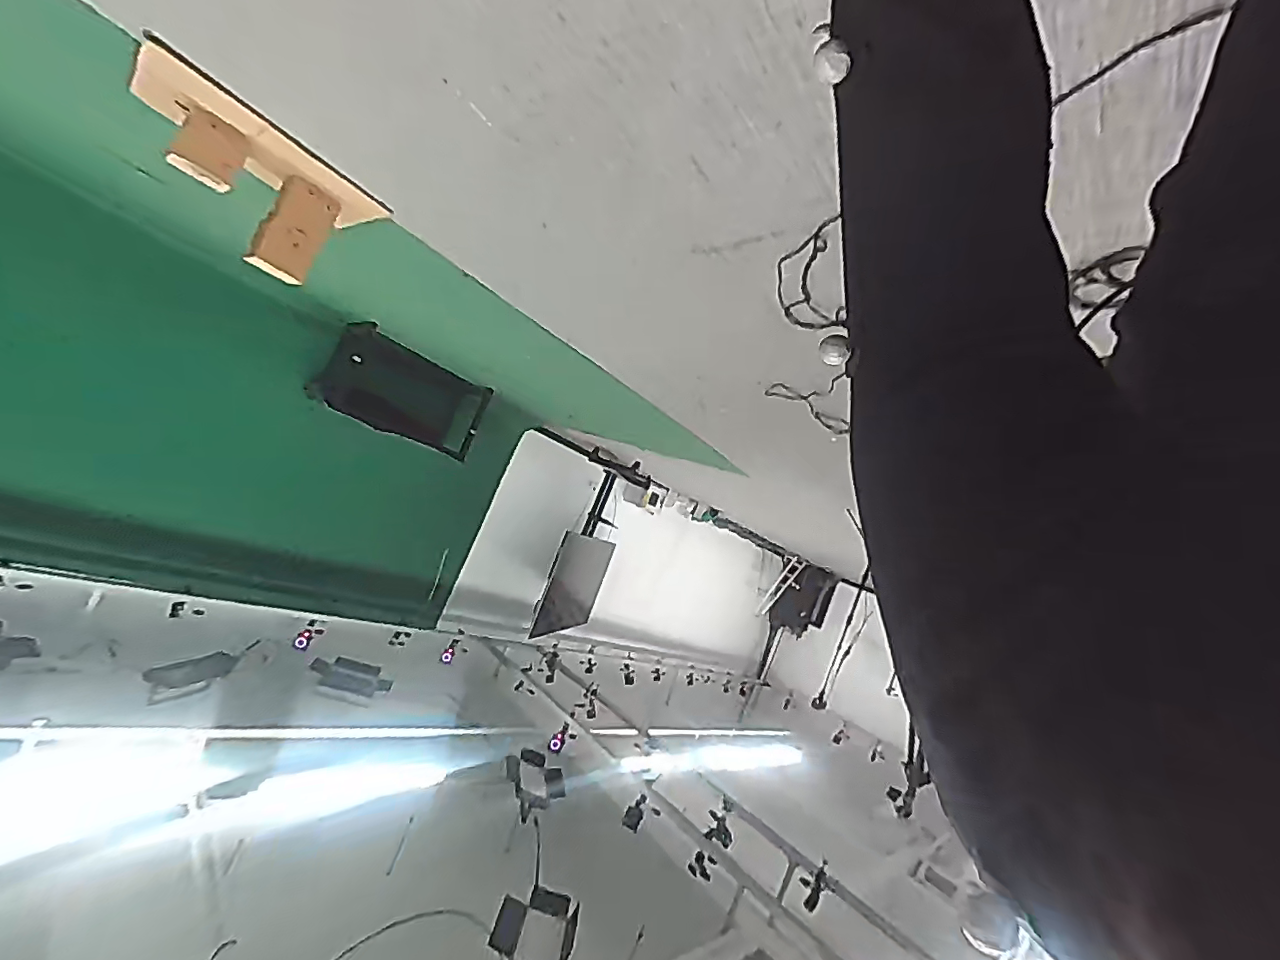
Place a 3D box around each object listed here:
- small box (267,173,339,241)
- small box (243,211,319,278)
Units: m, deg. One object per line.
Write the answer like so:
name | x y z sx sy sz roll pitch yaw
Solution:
small box | -1.263 -1.022 2.029 0.179 0.176 0.168 20 175 41
small box | -1.338 -0.878 2.020 0.179 0.176 0.168 19 174 40
